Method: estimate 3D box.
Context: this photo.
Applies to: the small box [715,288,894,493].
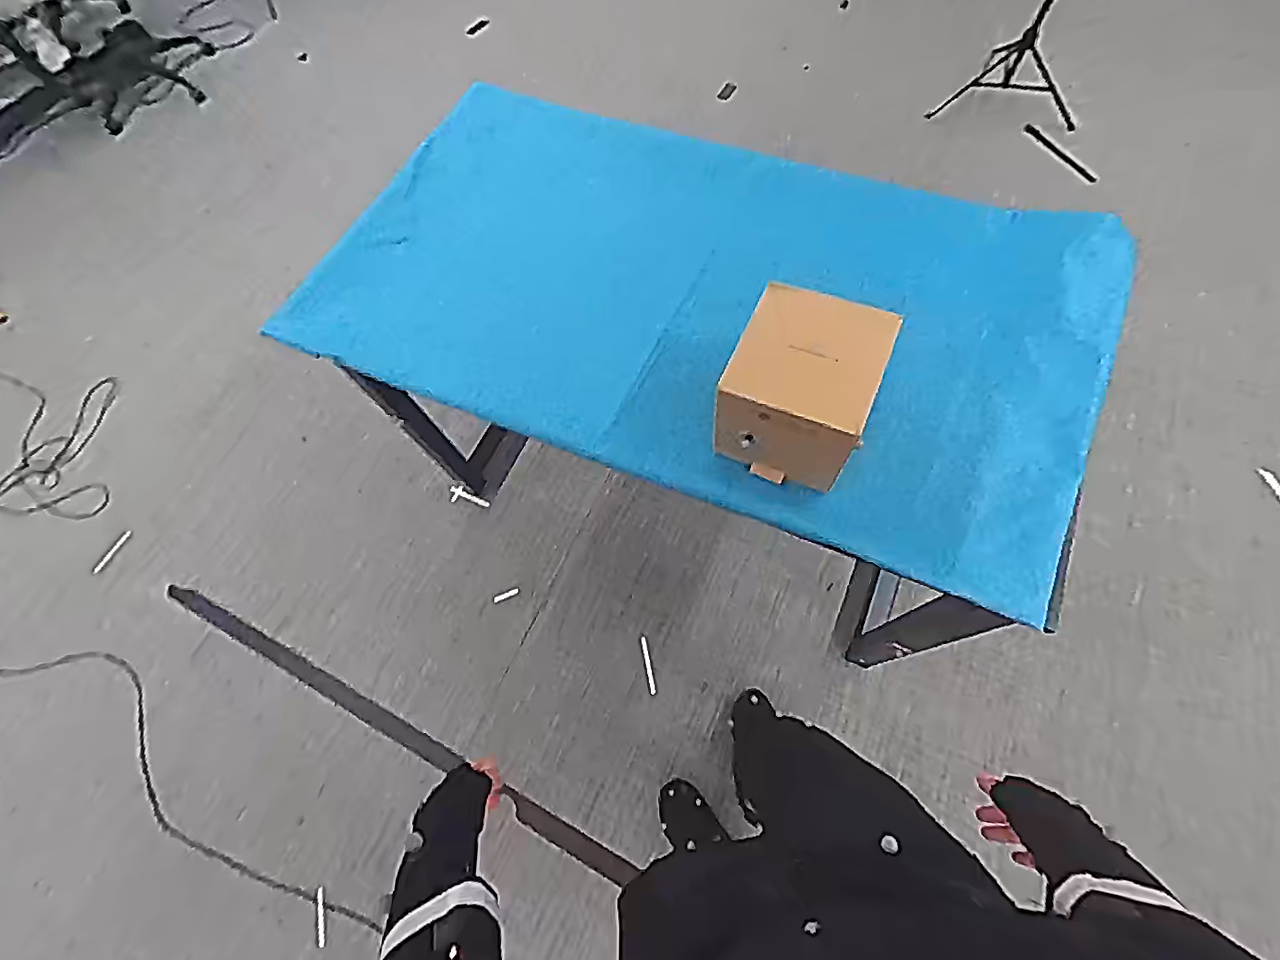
[{"bbox_3d":[0.204,-0.113,0.701,0.168,0.176,0.179,21,70,14],"label":"small box"}]
